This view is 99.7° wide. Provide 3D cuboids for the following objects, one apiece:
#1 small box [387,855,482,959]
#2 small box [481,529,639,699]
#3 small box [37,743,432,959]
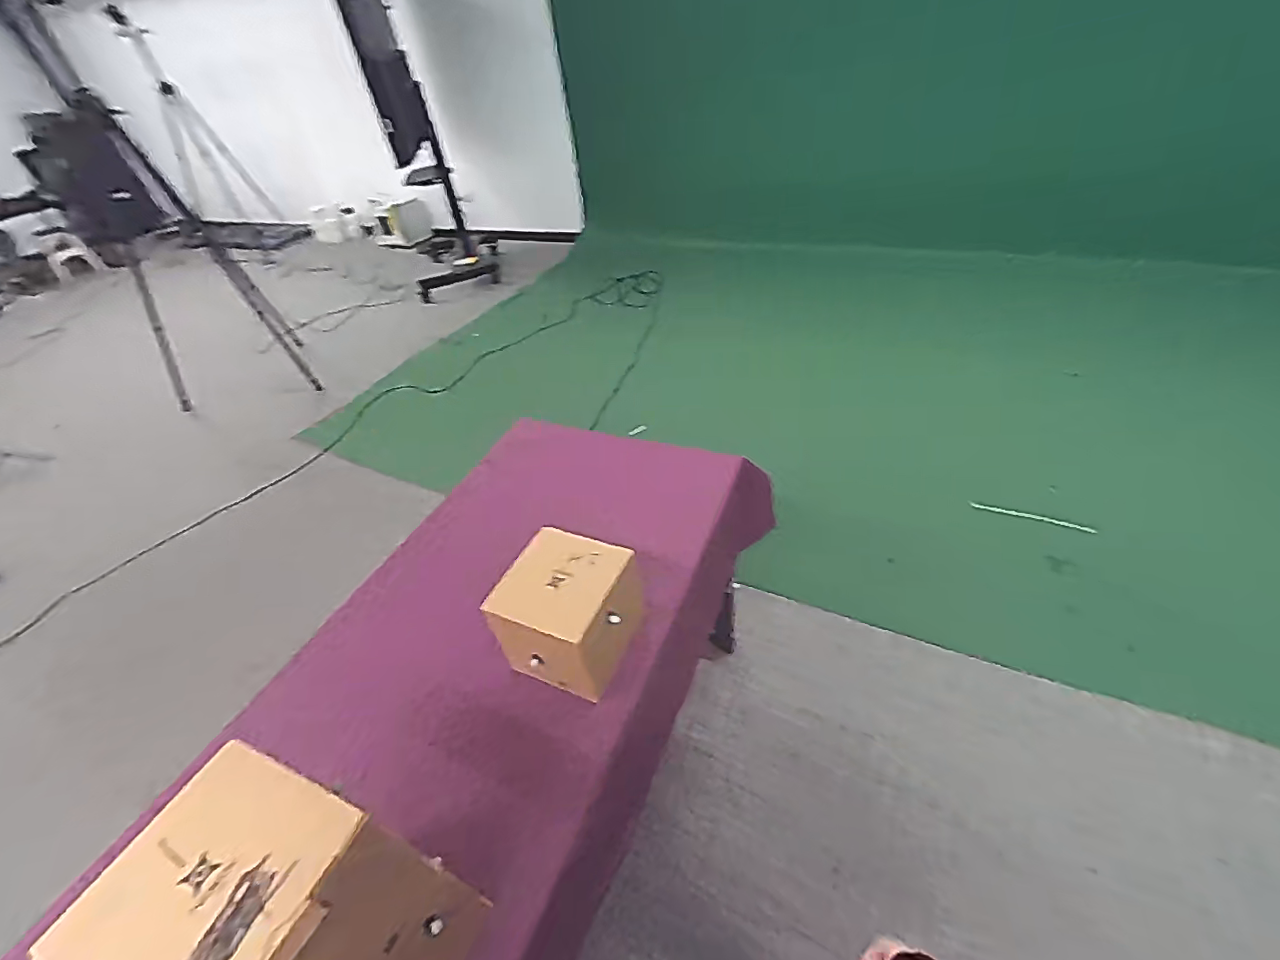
[{"bbox_3d":[-0.294,0.490,0.565,0.168,0.176,0.179,11,44,22],"label":"small box"},{"bbox_3d":[-0.111,0.210,0.851,0.168,0.176,0.179,13,45,23],"label":"small box"},{"bbox_3d":[-0.314,0.366,0.460,0.179,0.176,0.168,10,43,23],"label":"small box"}]
